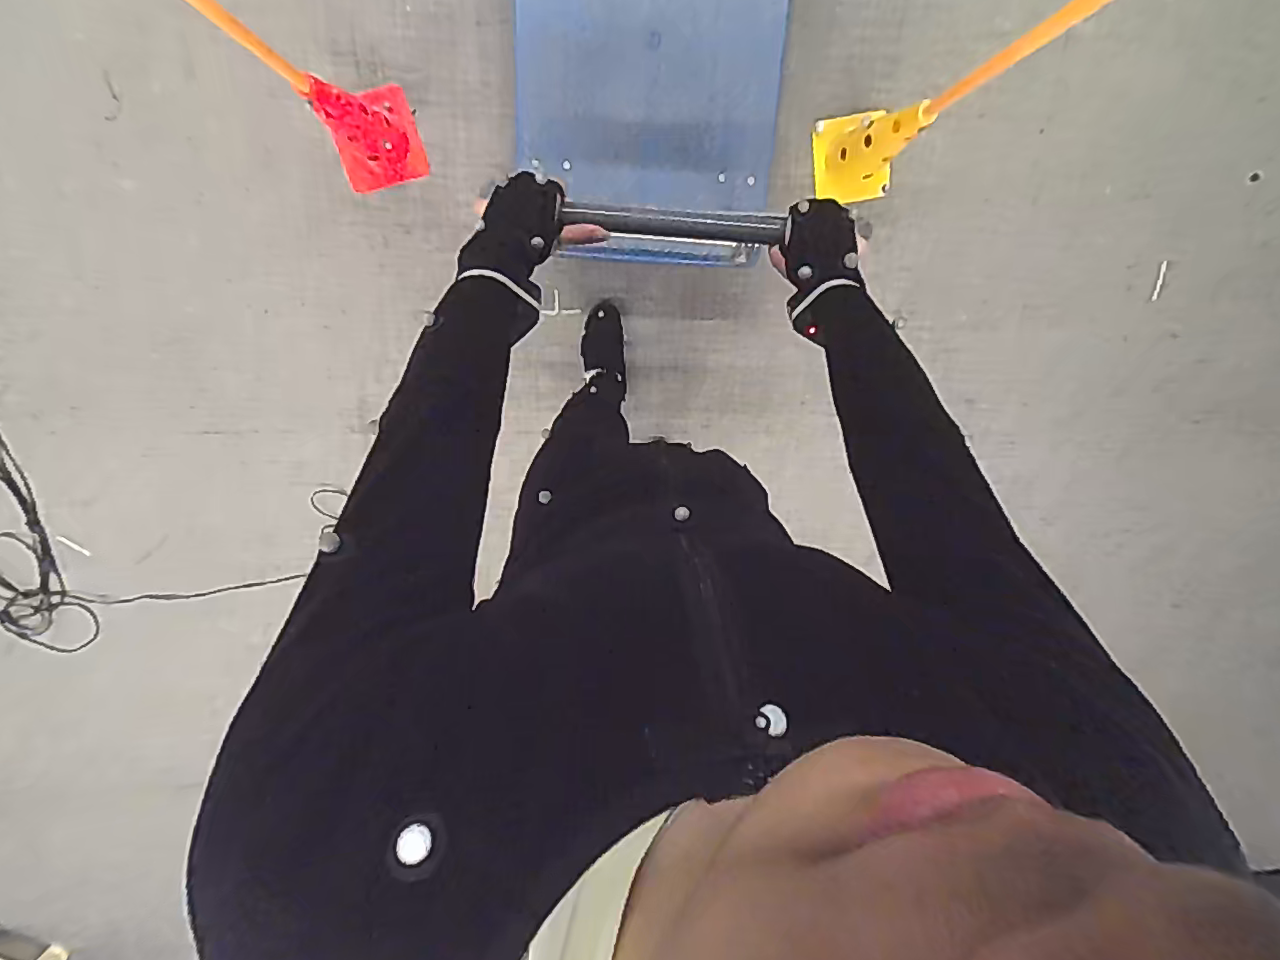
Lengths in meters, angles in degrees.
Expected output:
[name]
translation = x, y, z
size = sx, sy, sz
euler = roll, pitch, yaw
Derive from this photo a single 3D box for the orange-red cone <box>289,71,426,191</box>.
[orange-red cone]
translation = -0.626, -0.768, 1.142
size = 0.199, 0.360, 0.198
euler = -14, 108, 2
